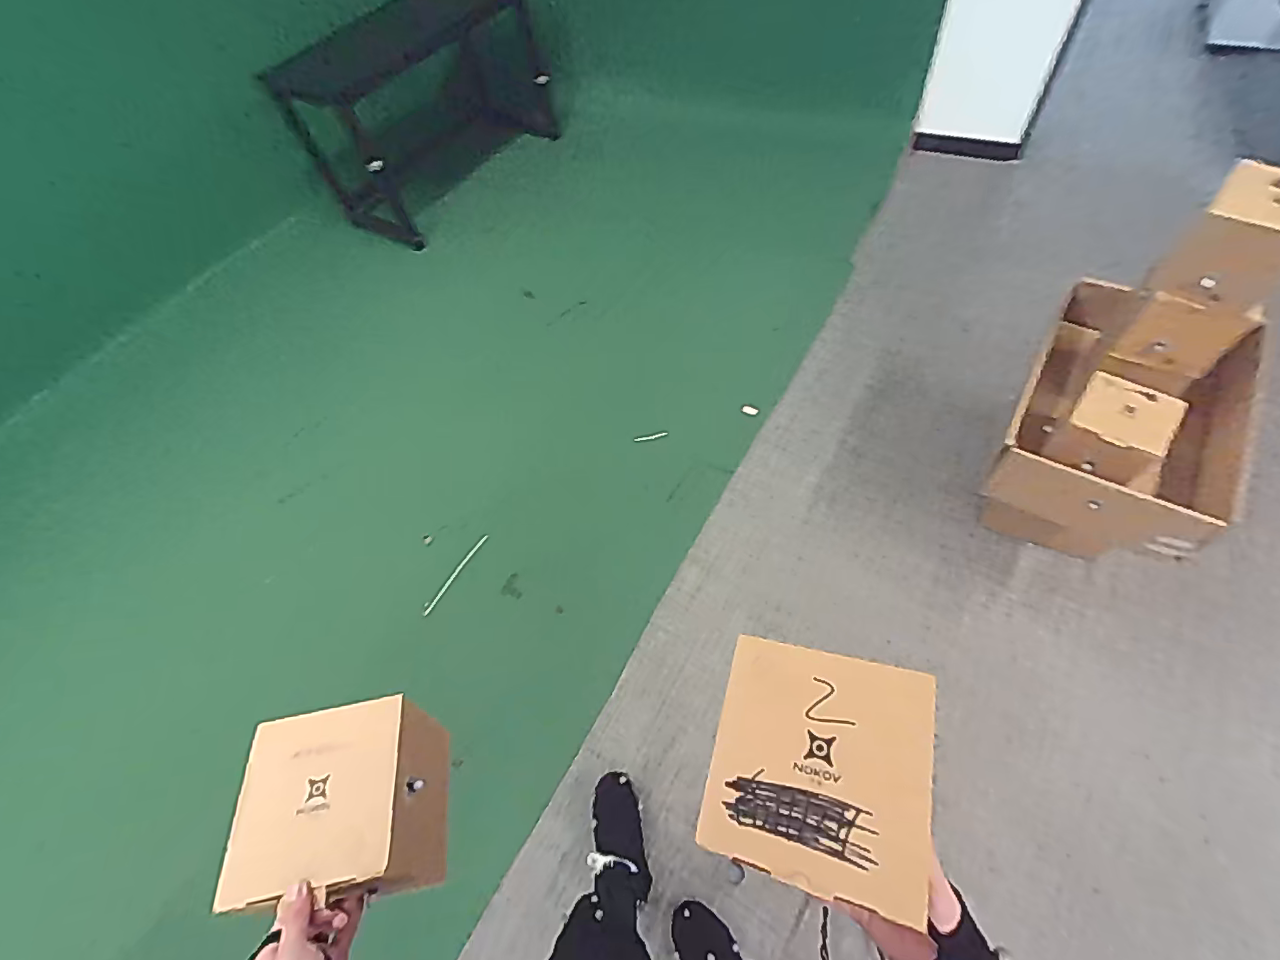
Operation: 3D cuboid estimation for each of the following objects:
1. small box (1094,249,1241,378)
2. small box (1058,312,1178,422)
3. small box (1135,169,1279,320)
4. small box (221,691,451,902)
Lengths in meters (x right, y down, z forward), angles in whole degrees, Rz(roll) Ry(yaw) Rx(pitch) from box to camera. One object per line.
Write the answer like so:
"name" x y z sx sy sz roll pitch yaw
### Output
"small box" 1.124 -0.353 1.158 0.168 0.176 0.179 25 67 21
"small box" 1.148 -0.272 1.297 0.168 0.176 0.179 25 67 23
"small box" 1.100 -0.442 1.022 0.168 0.176 0.179 35 71 25
"small box" -0.333 0.375 0.637 0.168 0.176 0.179 -9 50 -4
